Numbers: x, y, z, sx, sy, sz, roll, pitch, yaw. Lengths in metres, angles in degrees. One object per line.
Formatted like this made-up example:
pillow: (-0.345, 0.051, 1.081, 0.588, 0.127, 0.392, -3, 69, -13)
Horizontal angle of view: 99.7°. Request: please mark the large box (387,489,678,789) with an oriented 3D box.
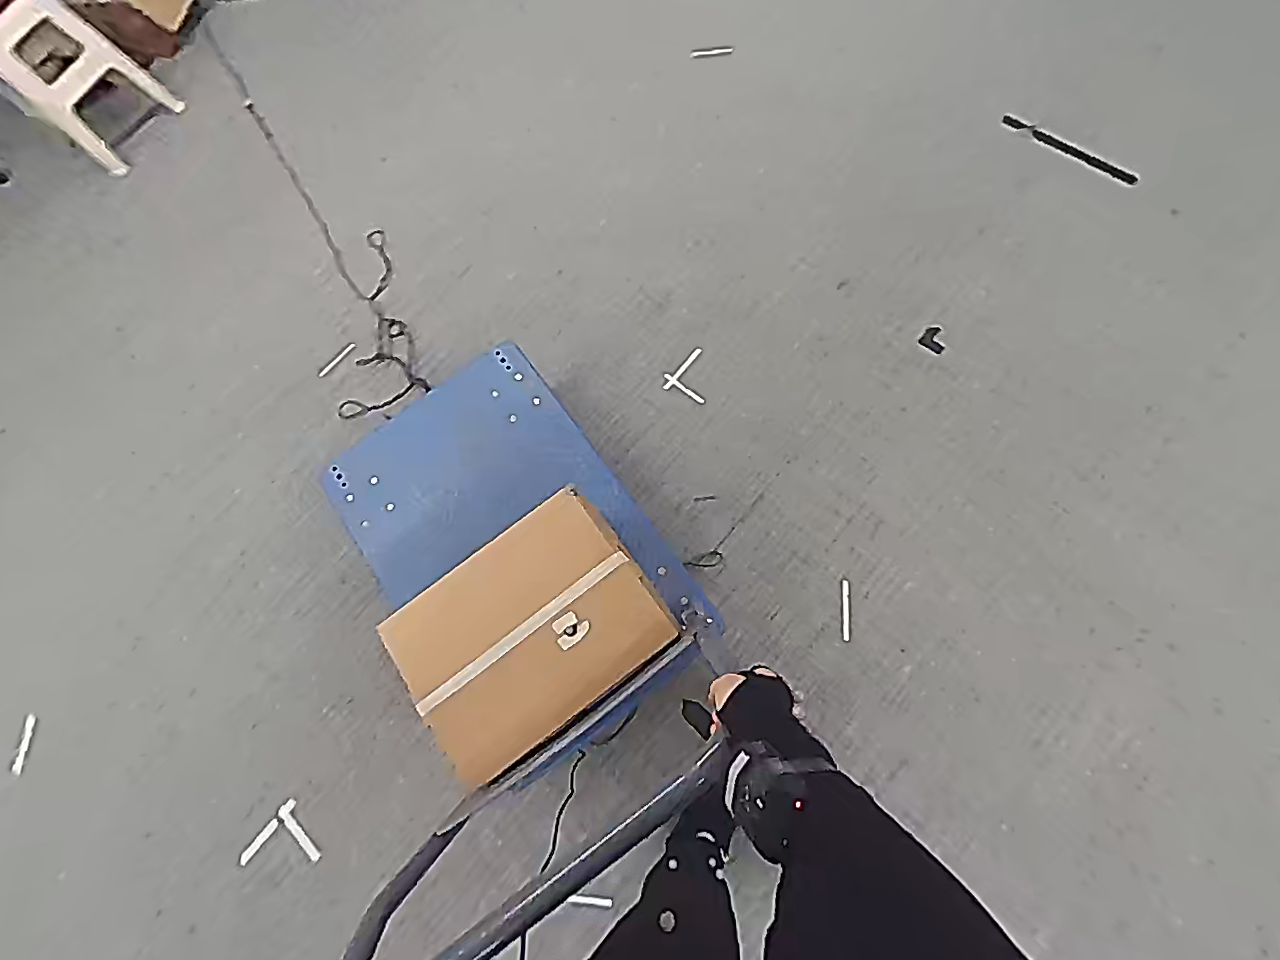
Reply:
large box: (-0.173, 0.286, 1.037, 0.408, 0.320, 0.320, -38, 77, -5)
